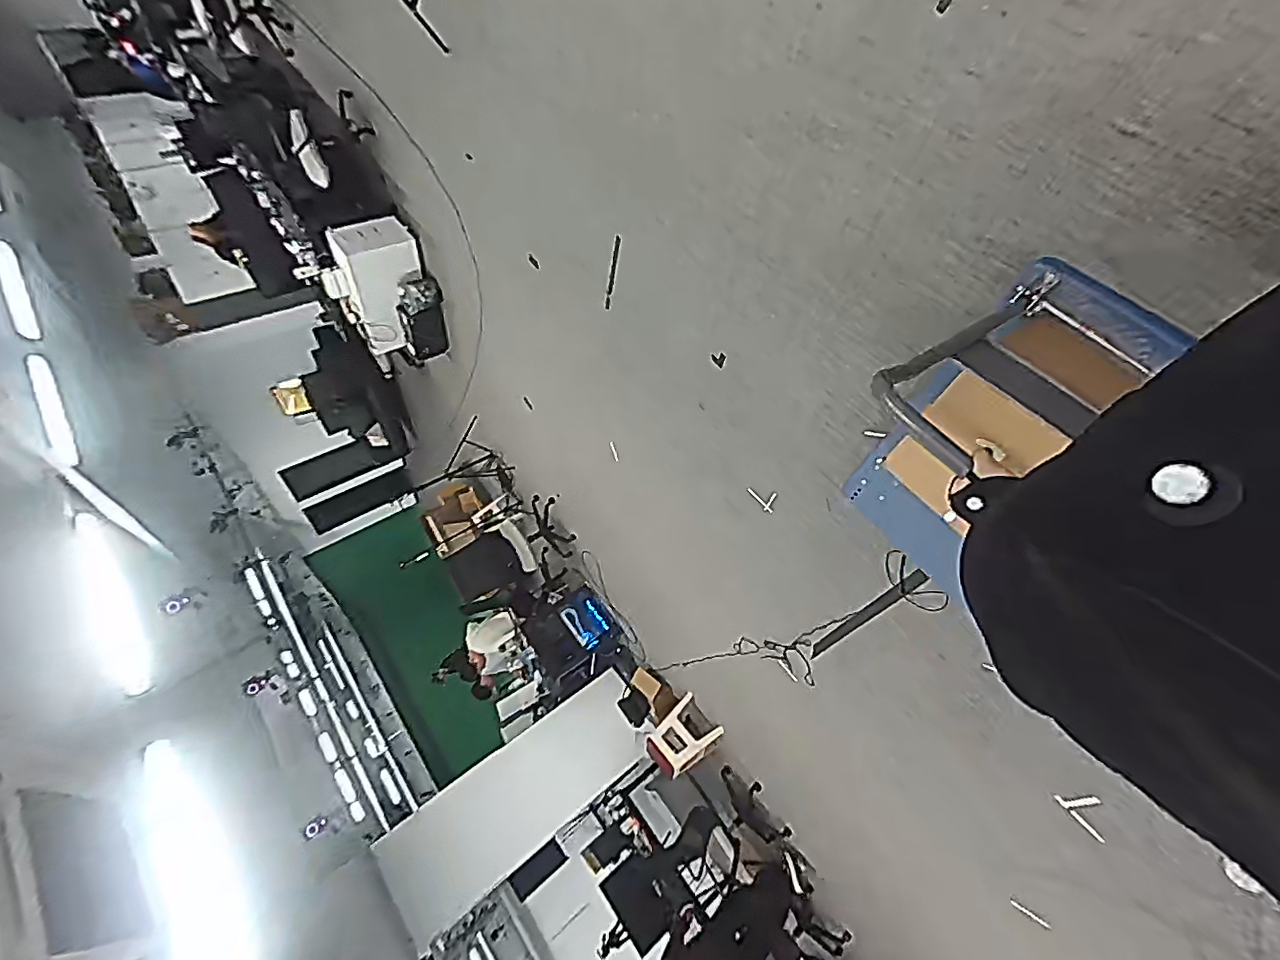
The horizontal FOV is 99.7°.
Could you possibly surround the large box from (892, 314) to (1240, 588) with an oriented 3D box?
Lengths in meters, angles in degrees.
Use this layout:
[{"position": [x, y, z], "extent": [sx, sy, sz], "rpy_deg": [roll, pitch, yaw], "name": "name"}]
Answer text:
[{"position": [0.835, -0.065, 1.108], "extent": [0.408, 0.320, 0.320], "rpy_deg": [50, 151, 22], "name": "large box"}]
